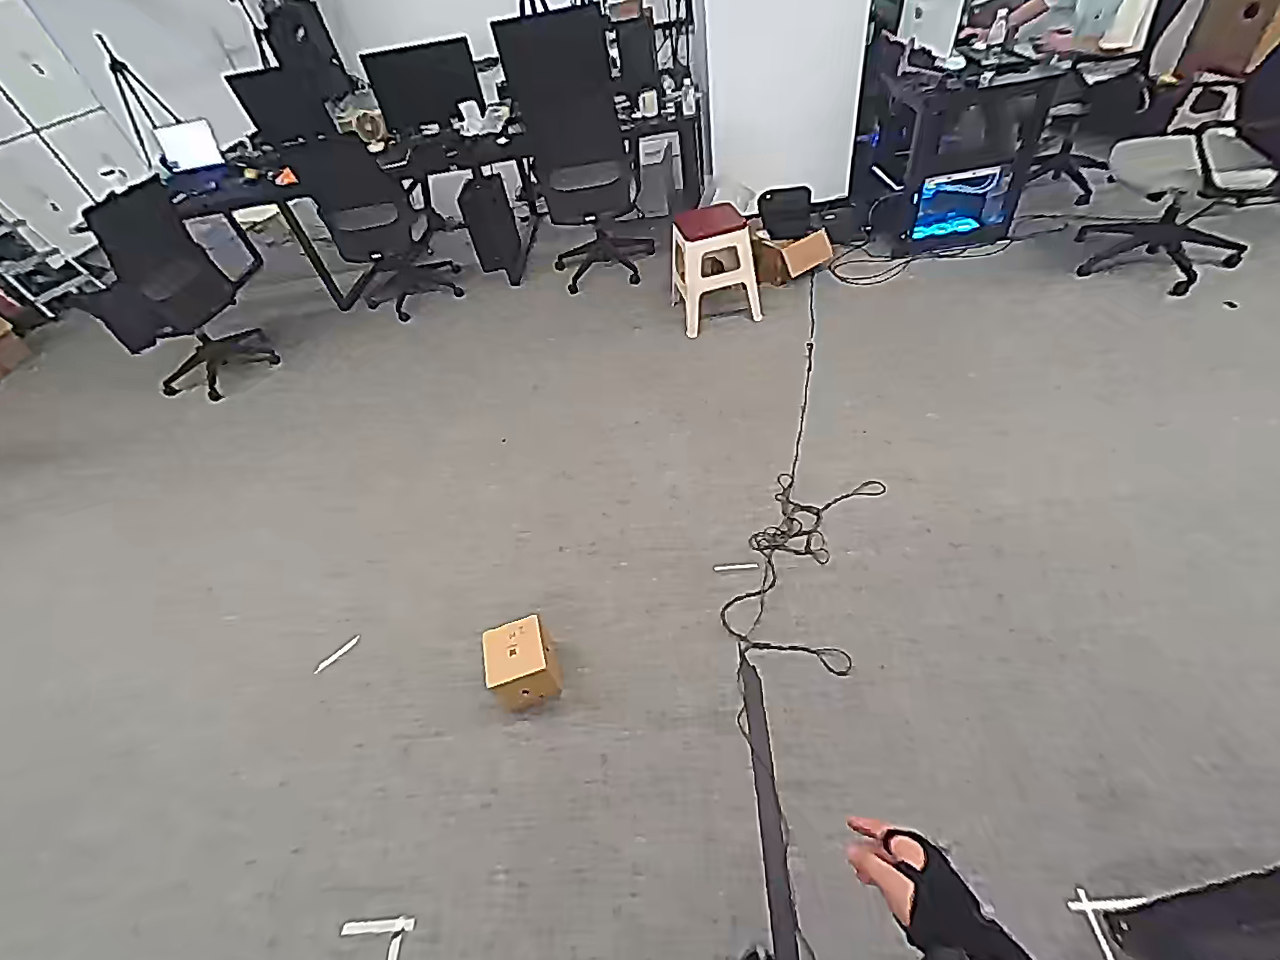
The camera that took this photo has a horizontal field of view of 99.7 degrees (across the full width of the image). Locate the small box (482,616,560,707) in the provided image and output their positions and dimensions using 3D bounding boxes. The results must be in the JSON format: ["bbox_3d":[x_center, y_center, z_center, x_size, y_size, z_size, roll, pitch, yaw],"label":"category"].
[{"bbox_3d":[-0.336,0.524,1.541,0.168,0.176,0.179,-18,45,-5],"label":"small box"}]
